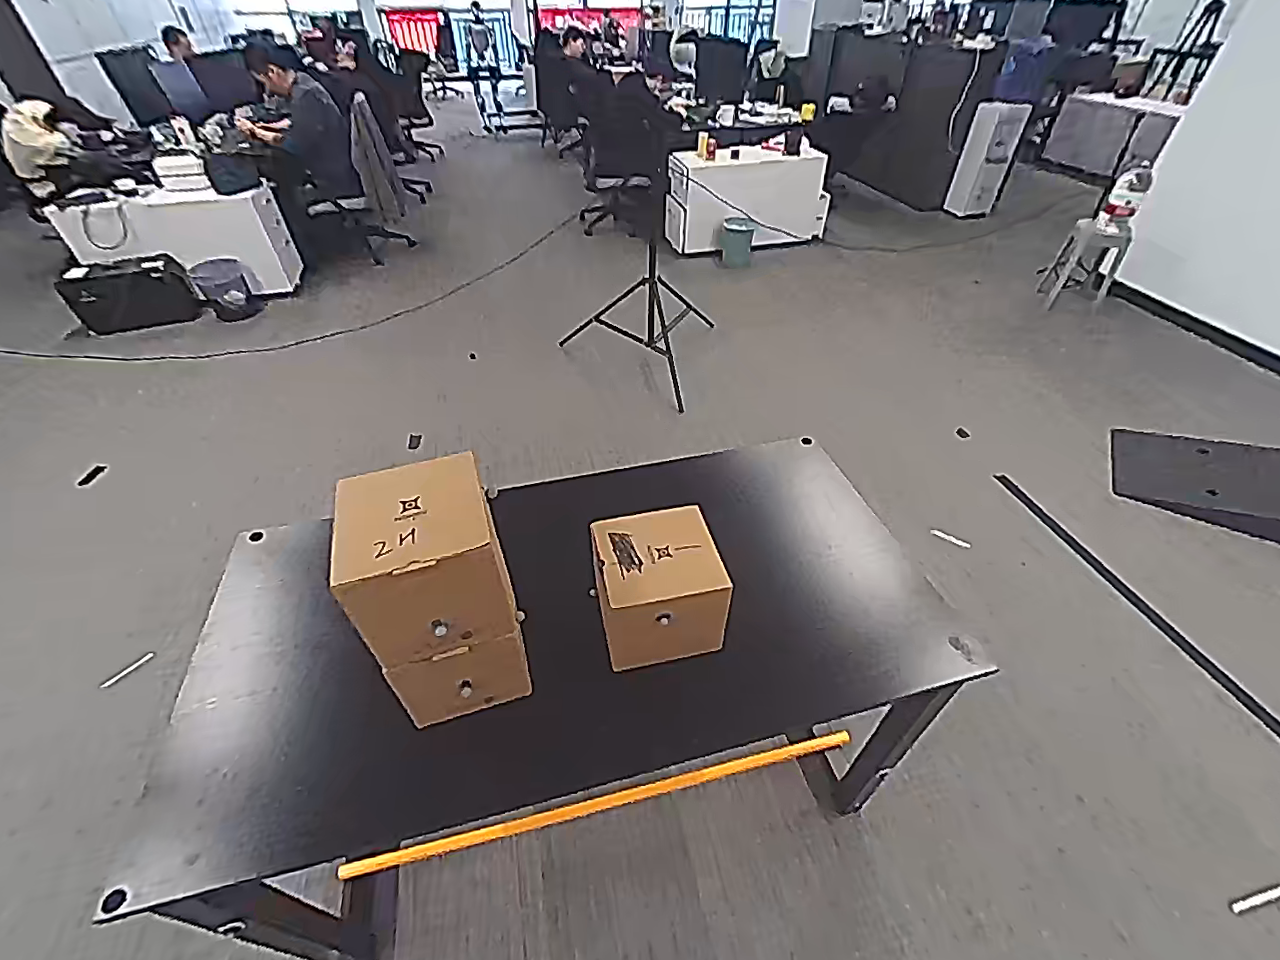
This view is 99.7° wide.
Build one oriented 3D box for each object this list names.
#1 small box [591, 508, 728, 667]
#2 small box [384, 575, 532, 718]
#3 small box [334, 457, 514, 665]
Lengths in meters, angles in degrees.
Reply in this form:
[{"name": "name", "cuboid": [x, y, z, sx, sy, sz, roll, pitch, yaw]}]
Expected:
[{"name": "small box", "cuboid": [0.025, 0.171, 0.851, 0.179, 0.176, 0.168, -9, 43, -9]}, {"name": "small box", "cuboid": [-0.264, 0.226, 0.798, 0.168, 0.176, 0.179, -13, 44, -13]}, {"name": "small box", "cuboid": [-0.266, 0.100, 0.689, 0.168, 0.176, 0.179, -15, 44, -14]}]
